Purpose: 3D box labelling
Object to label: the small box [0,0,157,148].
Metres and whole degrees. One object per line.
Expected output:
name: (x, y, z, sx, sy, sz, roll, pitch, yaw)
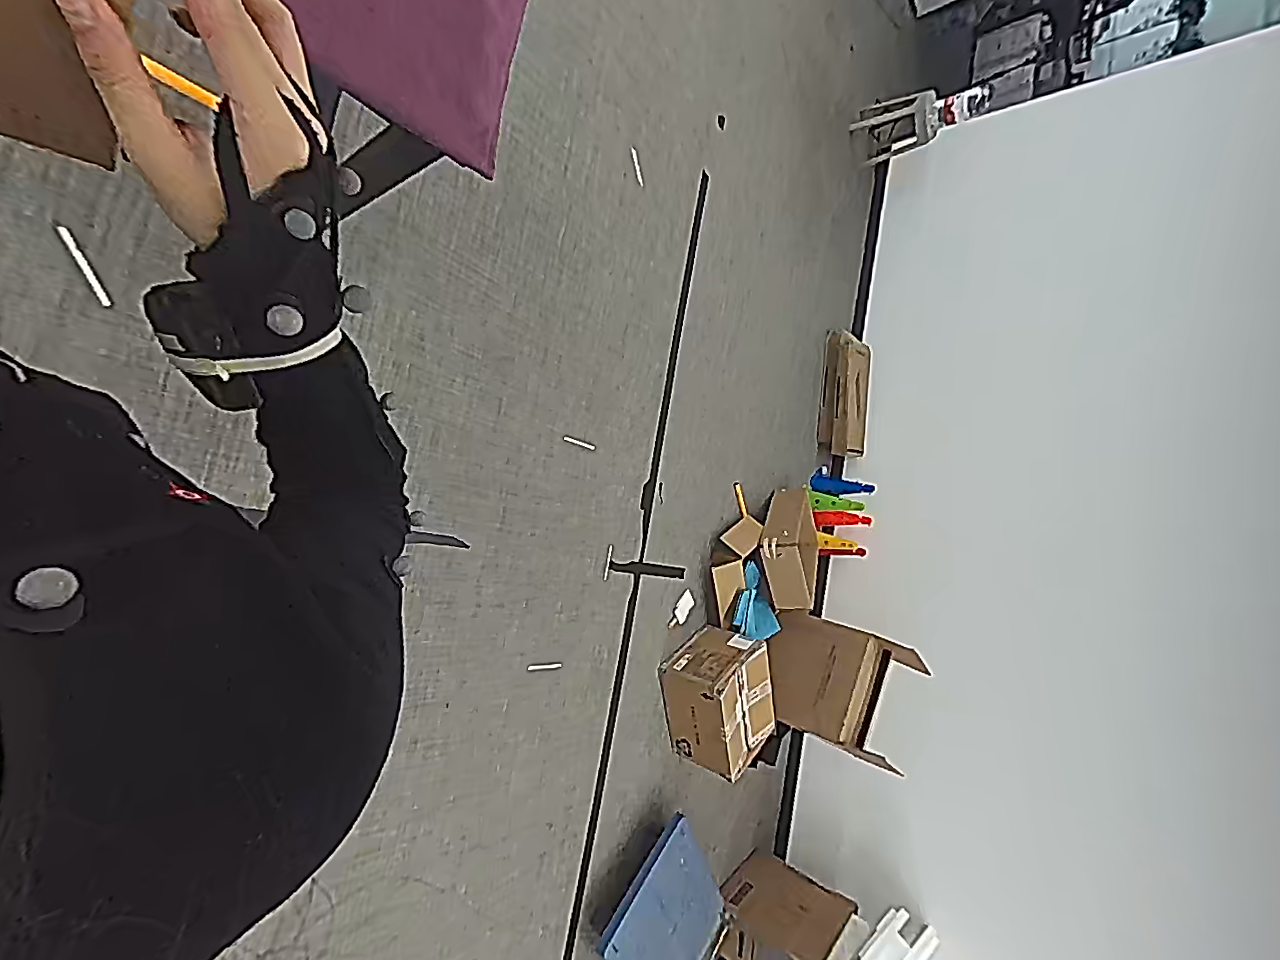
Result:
small box: (-0.271, -0.252, 0.174, 0.179, 0.176, 0.168, 3, 83, -47)
